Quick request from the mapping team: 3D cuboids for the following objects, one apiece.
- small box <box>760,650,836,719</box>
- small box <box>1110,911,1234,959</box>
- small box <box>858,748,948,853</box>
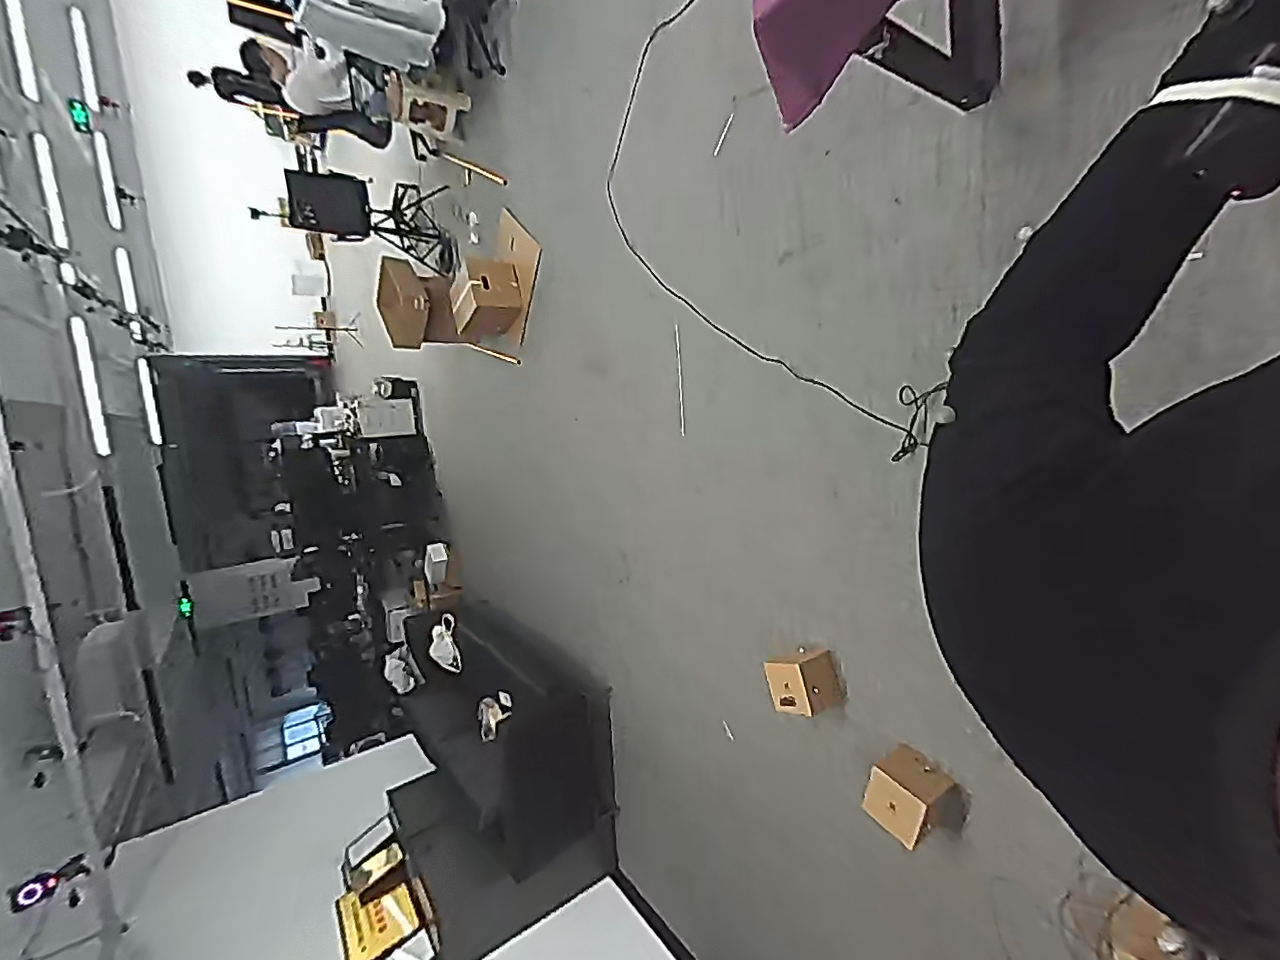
[{"bbox_3d":[0.557,0.713,1.895,0.168,0.176,0.179,-23,78,54],"label":"small box"},{"bbox_3d":[1.140,1.082,1.151,0.179,0.176,0.168,-3,94,54],"label":"small box"},{"bbox_3d":[0.789,0.953,1.620,0.168,0.176,0.179,28,119,48],"label":"small box"}]
